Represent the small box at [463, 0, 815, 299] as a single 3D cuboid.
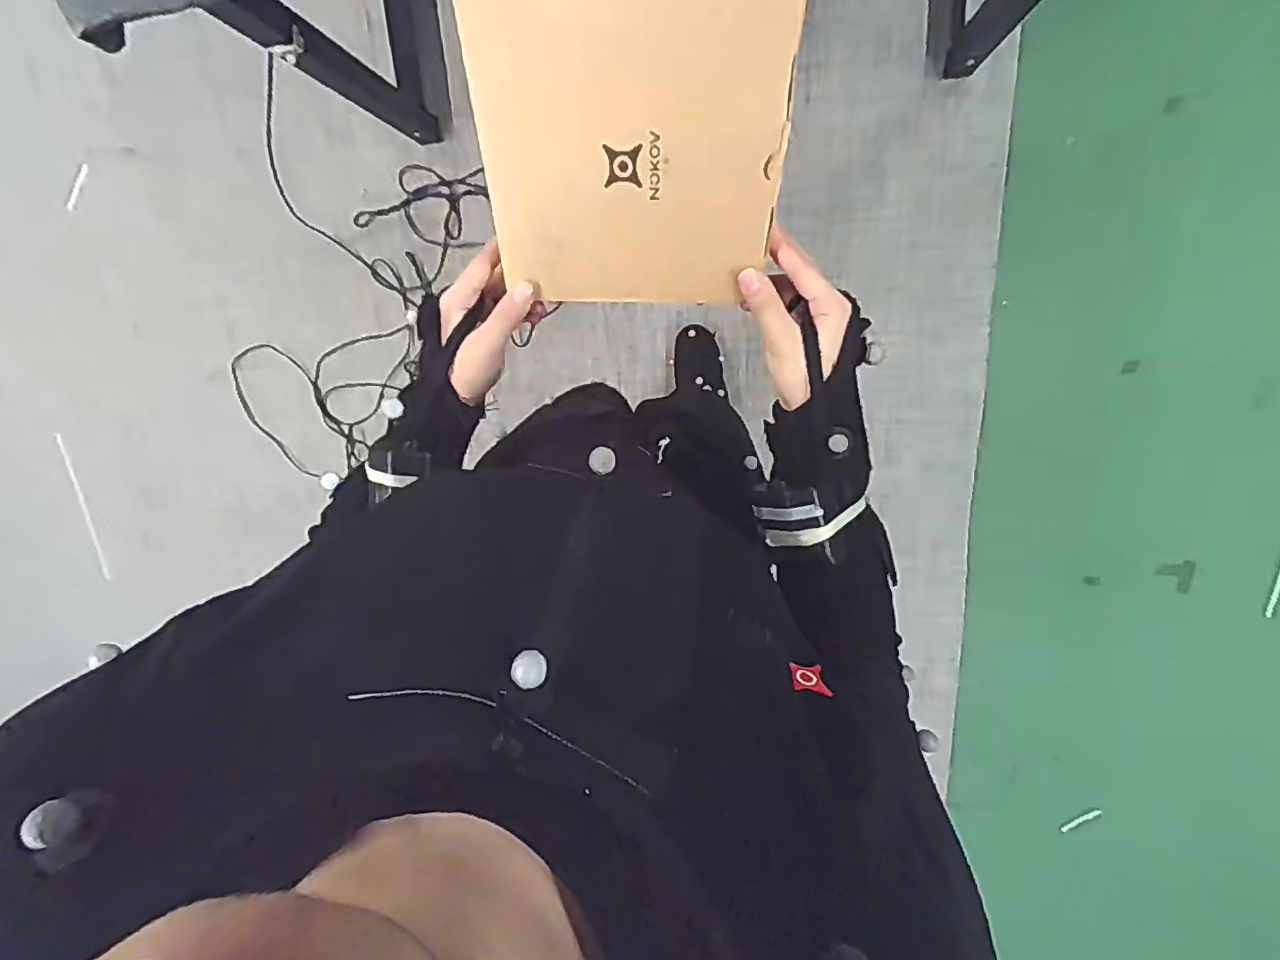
[{"bbox_3d":[0.003,-0.239,0.370,0.179,0.176,0.168,1,134,2],"label":"small box"}]
